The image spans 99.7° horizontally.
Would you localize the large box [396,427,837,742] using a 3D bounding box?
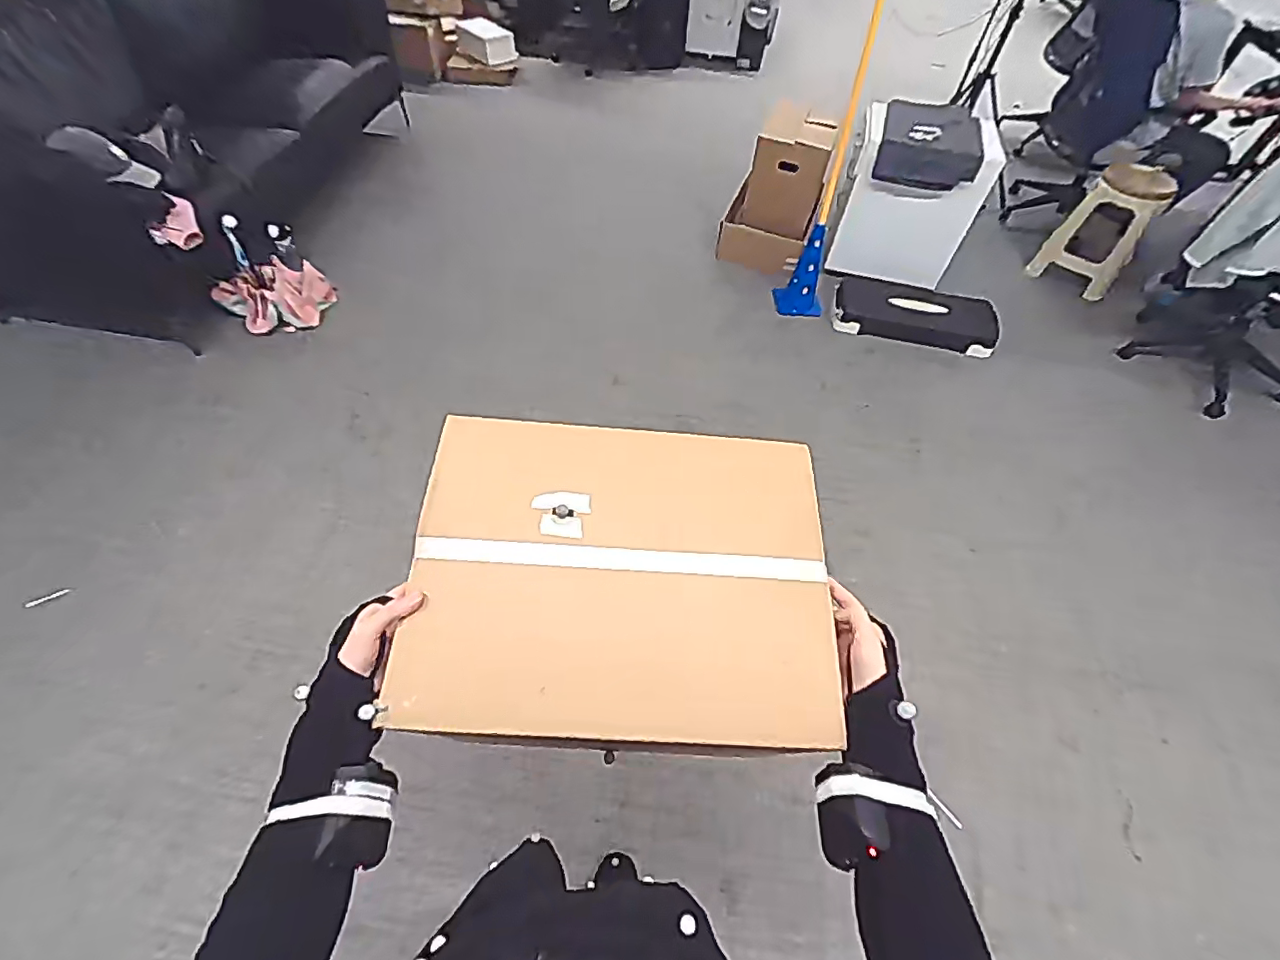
[{"bbox_3d":[-0.021,0.154,0.681,0.408,0.320,0.320,4,61,-2],"label":"large box"}]
